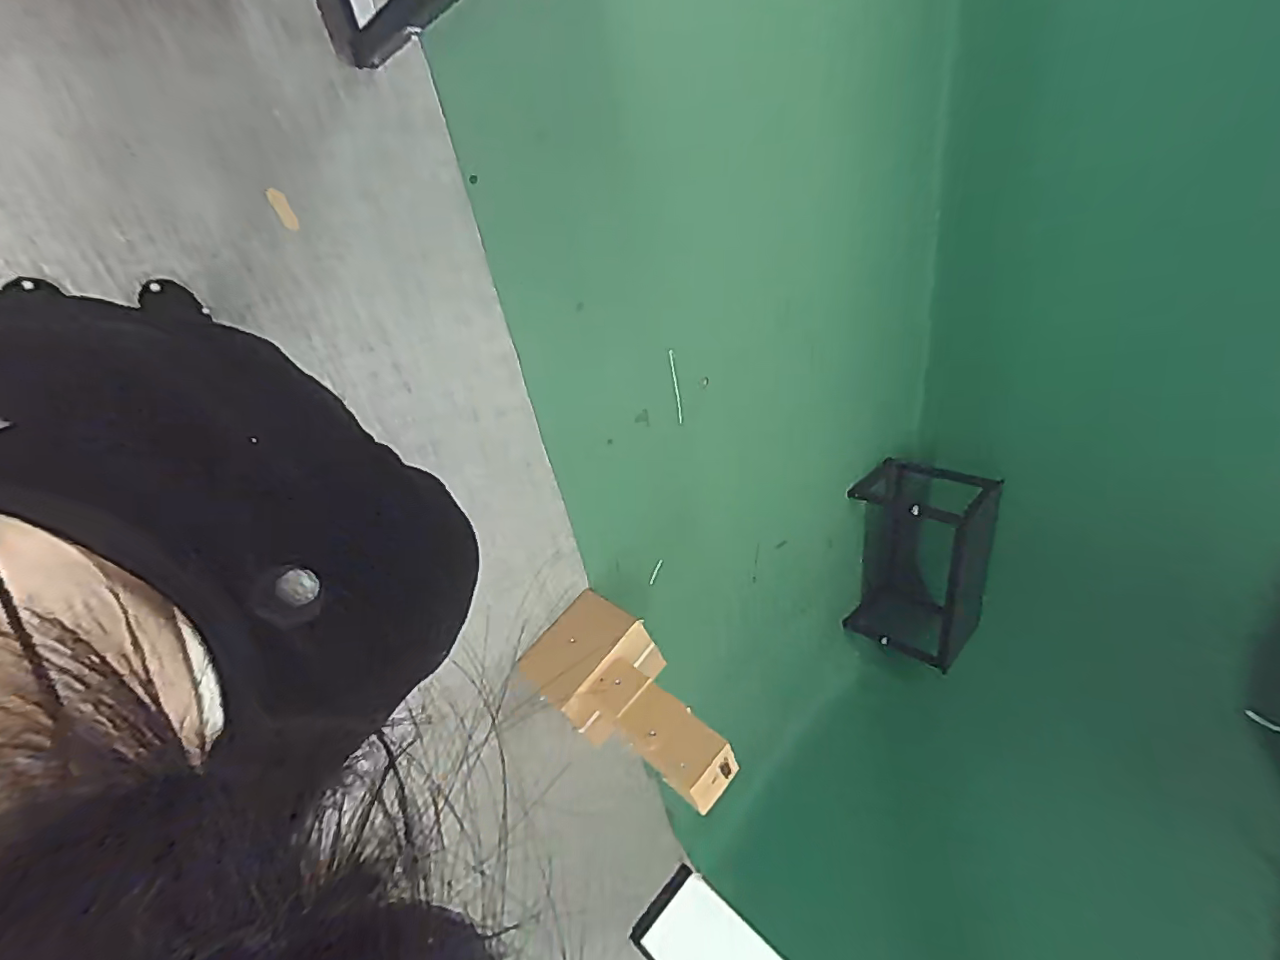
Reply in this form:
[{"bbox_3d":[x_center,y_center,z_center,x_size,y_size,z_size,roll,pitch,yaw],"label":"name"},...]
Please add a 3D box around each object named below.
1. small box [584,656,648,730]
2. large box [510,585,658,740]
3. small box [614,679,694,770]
[{"bbox_3d":[-0.066,0.737,1.864,0.168,0.176,0.179,-41,129,-27],"label":"small box"},{"bbox_3d":[-0.208,0.682,2.061,0.408,0.320,0.320,-47,133,-25],"label":"large box"},{"bbox_3d":[0.045,0.785,1.755,0.179,0.176,0.168,-39,129,-28],"label":"small box"}]
